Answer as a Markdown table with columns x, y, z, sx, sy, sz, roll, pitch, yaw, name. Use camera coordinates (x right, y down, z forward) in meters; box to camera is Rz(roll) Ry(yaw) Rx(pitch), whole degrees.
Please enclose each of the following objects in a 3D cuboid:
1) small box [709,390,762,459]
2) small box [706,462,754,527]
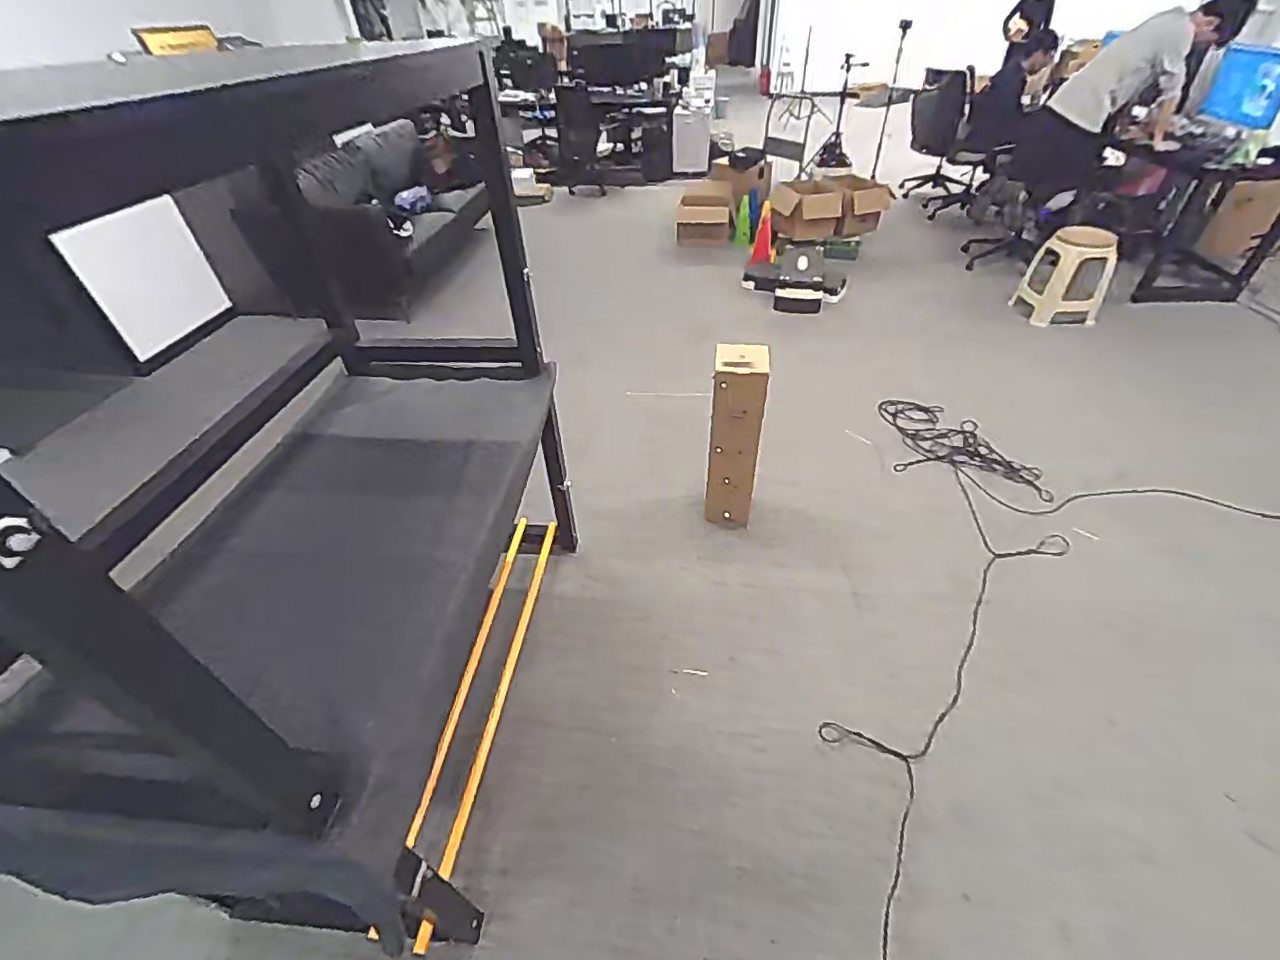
| x | y | z | sx | sy | sz | roll | pitch | yaw | name |
| --- | --- | --- | --- | --- | --- | --- | --- | --- | --- |
| 0.329 | -0.189 | 1.863 | 0.168 | 0.176 | 0.179 | 5 | 41 | 9 | small box |
| 0.345 | 0.057 | 2.076 | 0.168 | 0.176 | 0.179 | 5 | 42 | 11 | small box |
